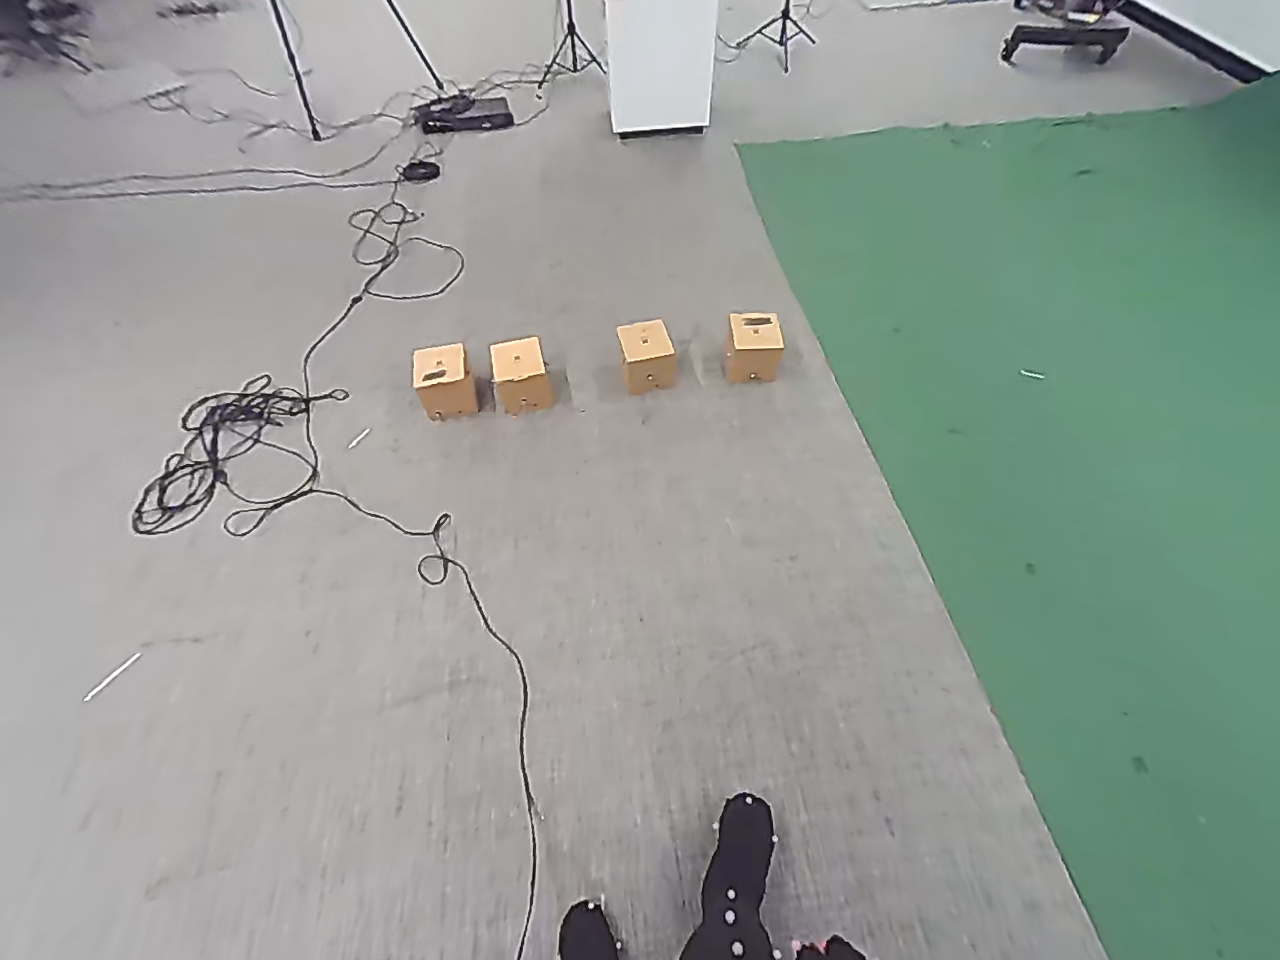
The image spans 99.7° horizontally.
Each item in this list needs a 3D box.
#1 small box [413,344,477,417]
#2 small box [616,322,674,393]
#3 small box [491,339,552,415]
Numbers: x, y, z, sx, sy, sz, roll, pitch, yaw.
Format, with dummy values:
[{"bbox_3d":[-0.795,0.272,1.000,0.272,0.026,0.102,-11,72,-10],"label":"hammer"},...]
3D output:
[{"bbox_3d":[-0.658,-0.330,1.837,0.168,0.176,0.179,-10,57,-6],"label":"small box"},{"bbox_3d":[0.016,-0.419,1.886,0.168,0.176,0.179,-11,58,-8],"label":"small box"},{"bbox_3d":[-0.403,-0.350,1.848,0.168,0.176,0.179,-13,59,-7],"label":"small box"}]
